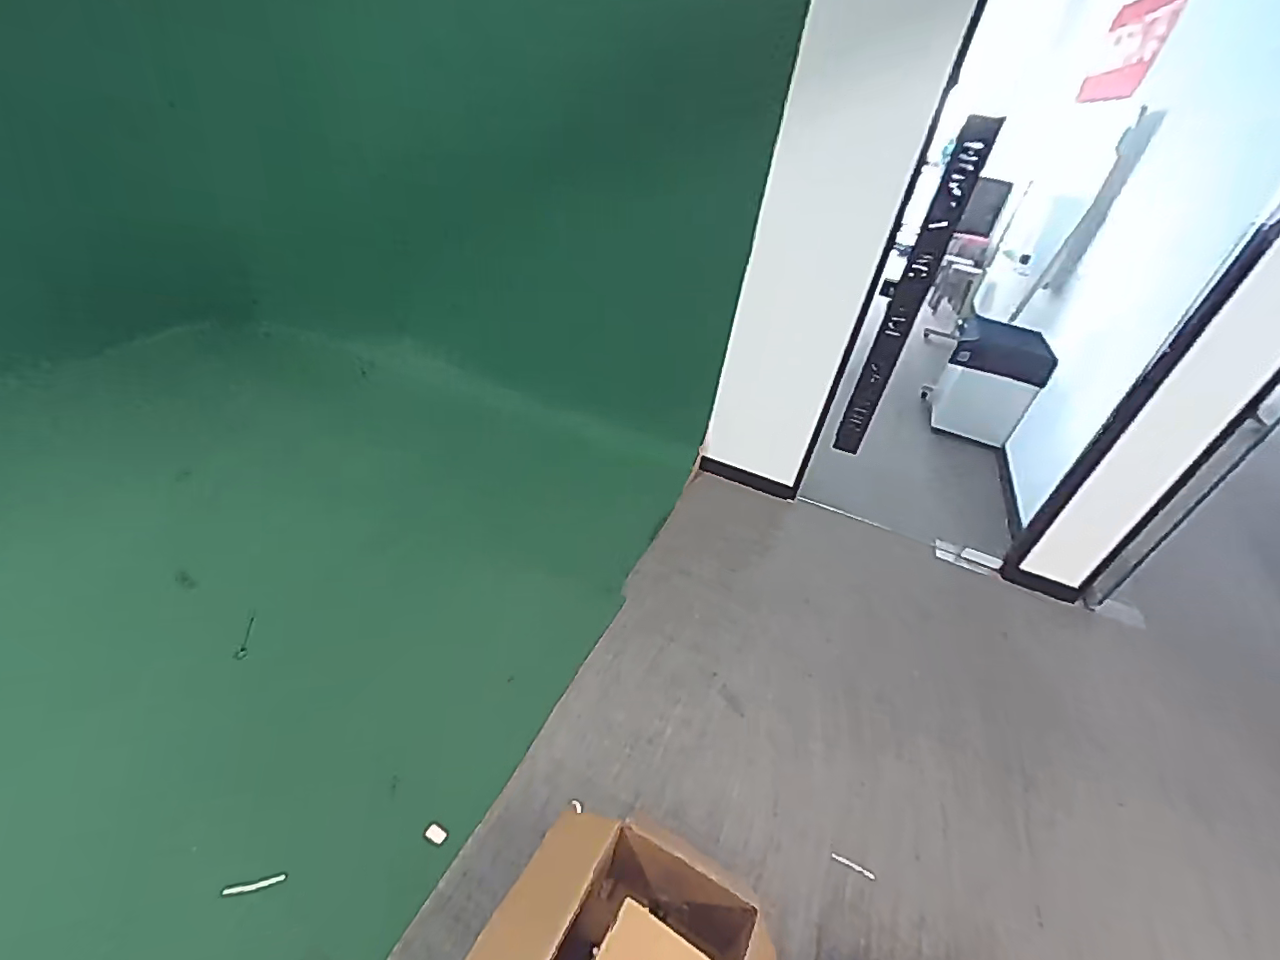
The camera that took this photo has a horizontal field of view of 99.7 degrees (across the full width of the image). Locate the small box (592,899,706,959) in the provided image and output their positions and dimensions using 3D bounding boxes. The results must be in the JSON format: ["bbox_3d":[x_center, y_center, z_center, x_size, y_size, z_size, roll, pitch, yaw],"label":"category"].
[{"bbox_3d":[-0.008,0.885,0.934,0.179,0.176,0.168,25,38,18],"label":"small box"}]
